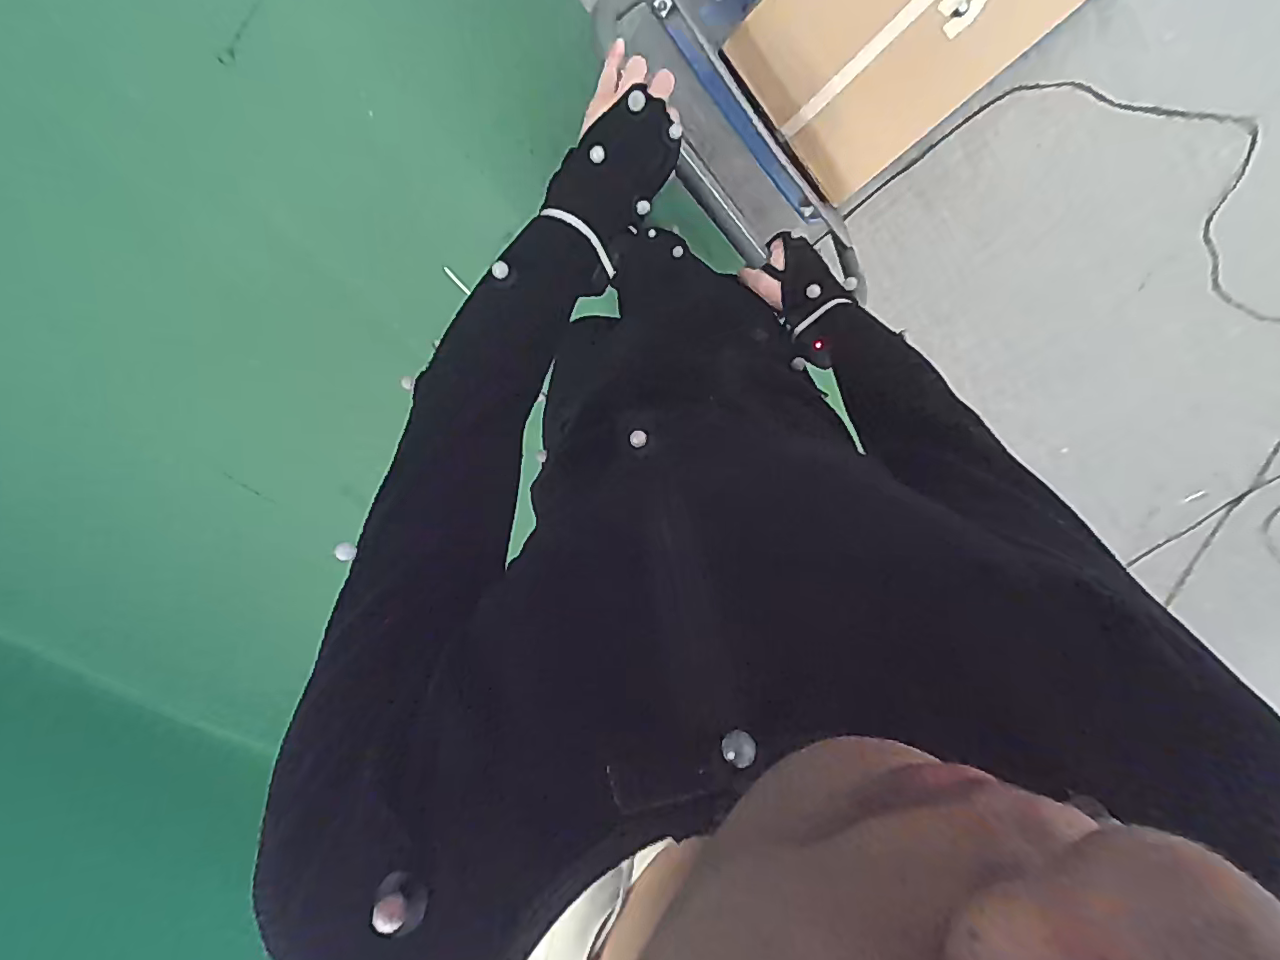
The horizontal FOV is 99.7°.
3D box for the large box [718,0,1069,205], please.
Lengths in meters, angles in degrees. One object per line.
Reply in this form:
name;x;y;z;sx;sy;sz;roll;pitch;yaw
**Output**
large box;0.379;-0.760;0.905;0.408;0.320;0.320;-35;118;30
